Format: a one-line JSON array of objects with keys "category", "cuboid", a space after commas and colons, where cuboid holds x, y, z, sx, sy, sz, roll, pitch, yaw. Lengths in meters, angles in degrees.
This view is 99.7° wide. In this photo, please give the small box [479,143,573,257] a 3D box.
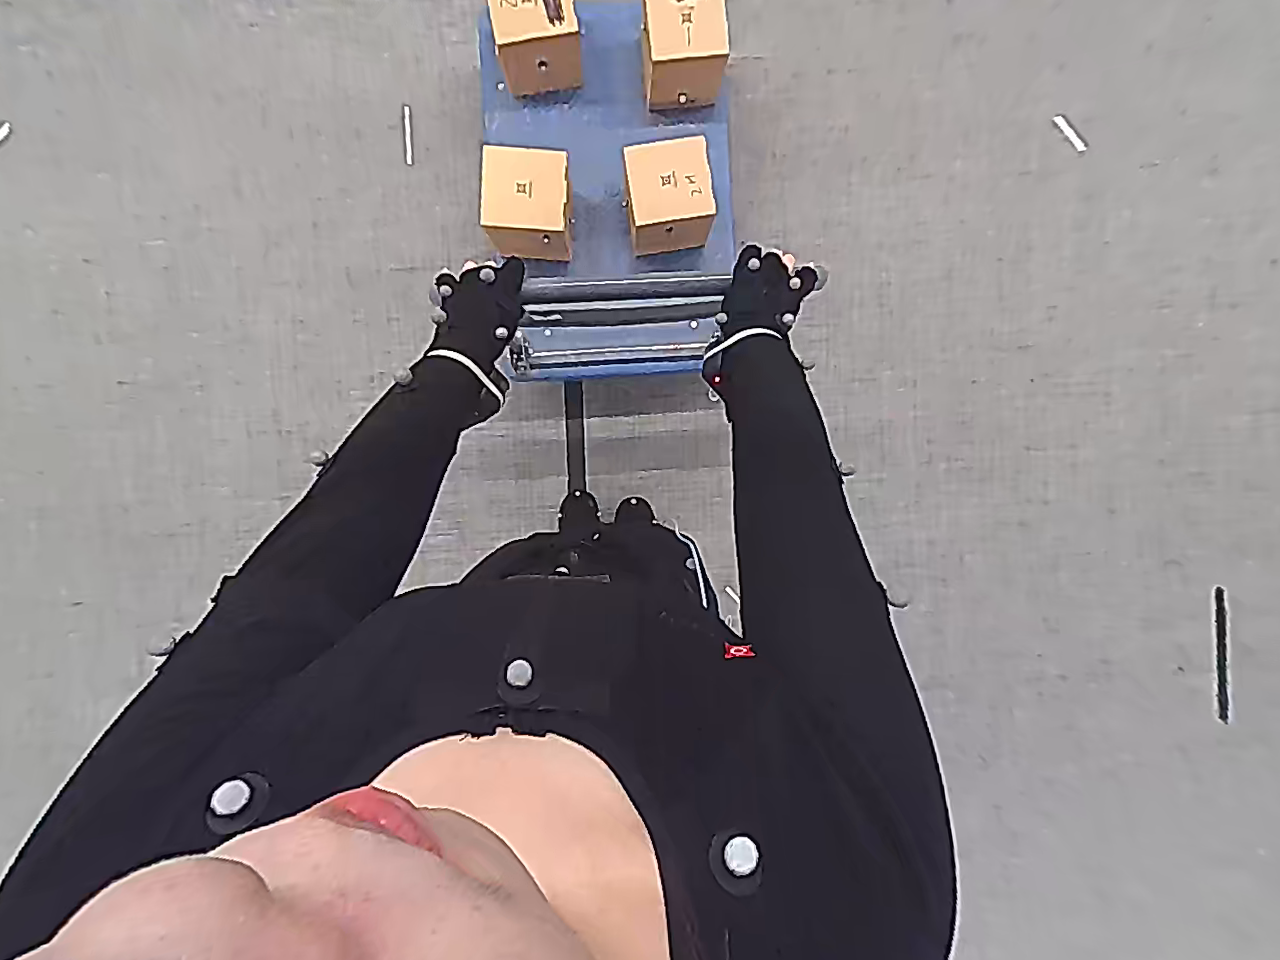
[{"category": "small box", "cuboid": [-0.244, -0.607, 1.190, 0.179, 0.176, 0.168, 2, 92, -3]}]

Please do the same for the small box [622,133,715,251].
[{"category": "small box", "cuboid": [0.059, -0.627, 1.198, 0.179, 0.176, 0.168, -9, 93, -1]}]

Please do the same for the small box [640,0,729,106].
[{"category": "small box", "cuboid": [0.092, -0.965, 1.184, 0.168, 0.176, 0.179, -7, 94, -1]}]
